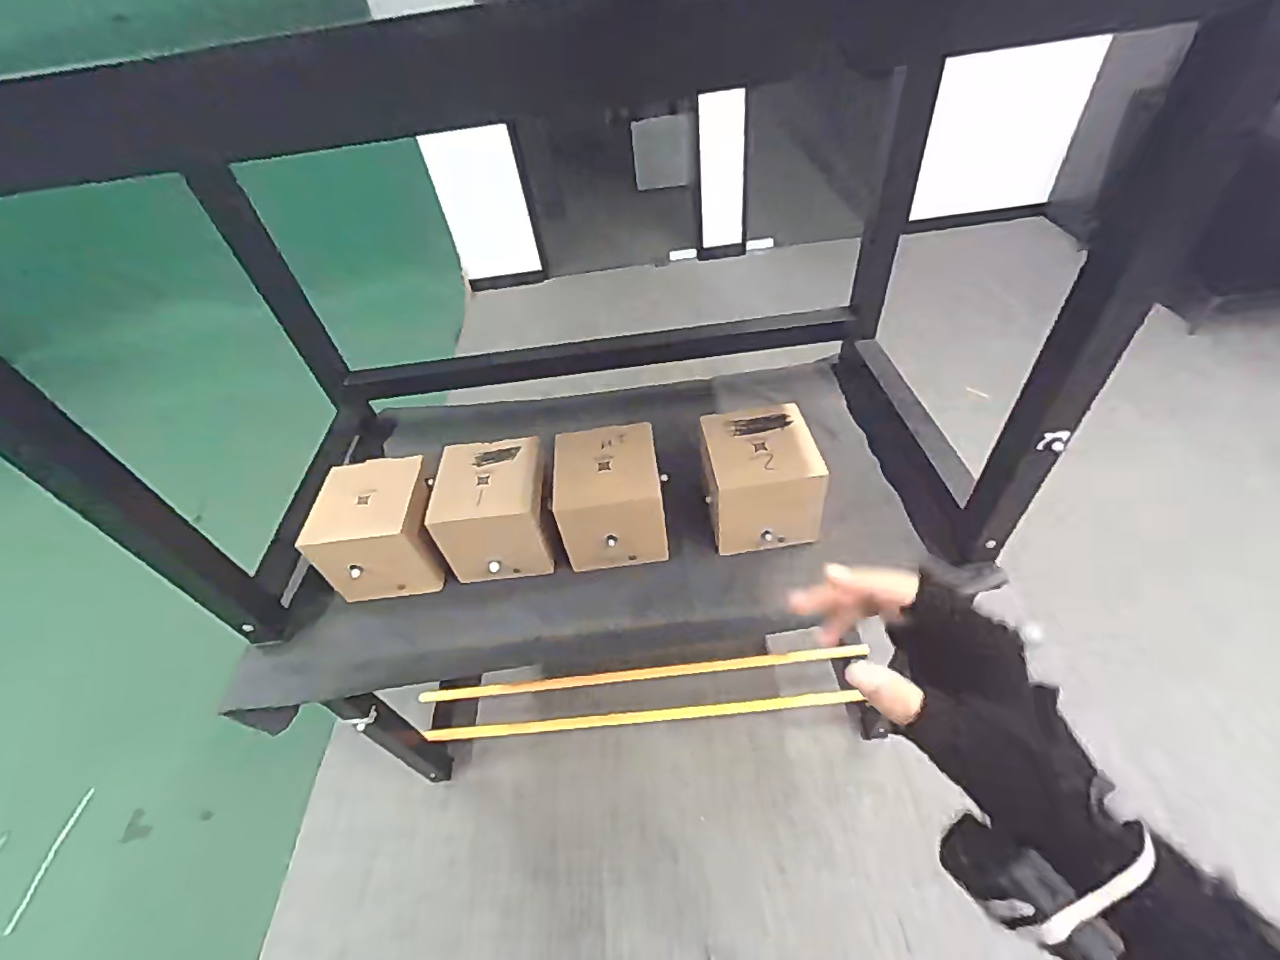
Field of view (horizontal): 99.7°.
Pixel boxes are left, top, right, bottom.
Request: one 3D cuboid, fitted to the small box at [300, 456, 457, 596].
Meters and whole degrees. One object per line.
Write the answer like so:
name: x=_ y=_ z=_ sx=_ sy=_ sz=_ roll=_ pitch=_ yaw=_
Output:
small box: x=-0.431 y=0.085 z=0.928 sx=0.168 sy=0.176 sz=0.179 roll=-7 pitch=45 yaw=1
